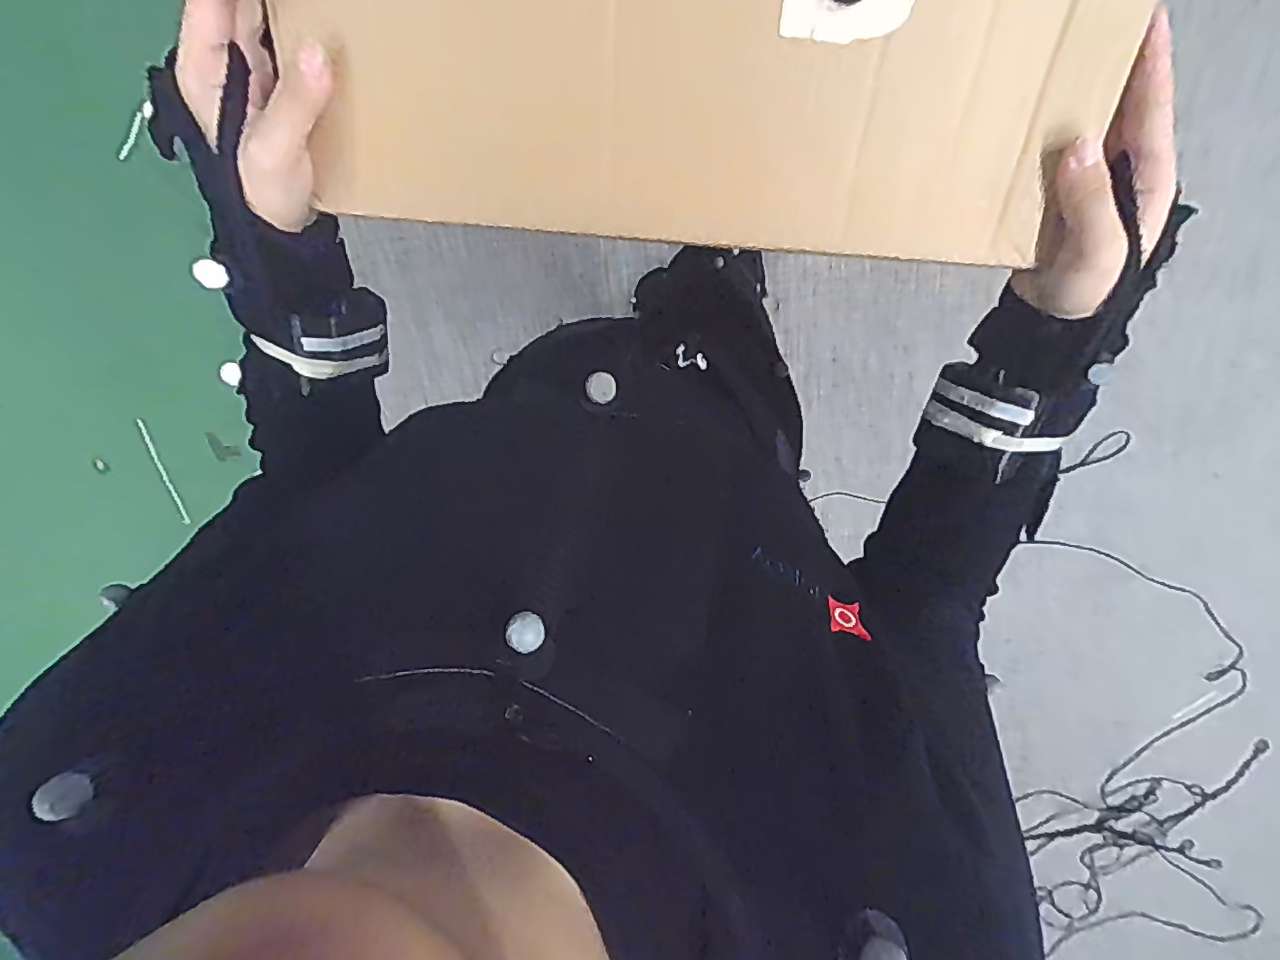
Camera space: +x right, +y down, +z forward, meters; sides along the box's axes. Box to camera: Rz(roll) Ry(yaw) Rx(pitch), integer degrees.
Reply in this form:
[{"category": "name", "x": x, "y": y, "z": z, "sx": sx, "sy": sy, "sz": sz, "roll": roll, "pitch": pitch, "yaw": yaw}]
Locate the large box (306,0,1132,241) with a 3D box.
[{"category": "large box", "x": 0.041, "y": -0.344, "z": 0.373, "sx": 0.408, "sy": 0.320, "sz": 0.320, "roll": 4, "pitch": 115, "yaw": 0}]
